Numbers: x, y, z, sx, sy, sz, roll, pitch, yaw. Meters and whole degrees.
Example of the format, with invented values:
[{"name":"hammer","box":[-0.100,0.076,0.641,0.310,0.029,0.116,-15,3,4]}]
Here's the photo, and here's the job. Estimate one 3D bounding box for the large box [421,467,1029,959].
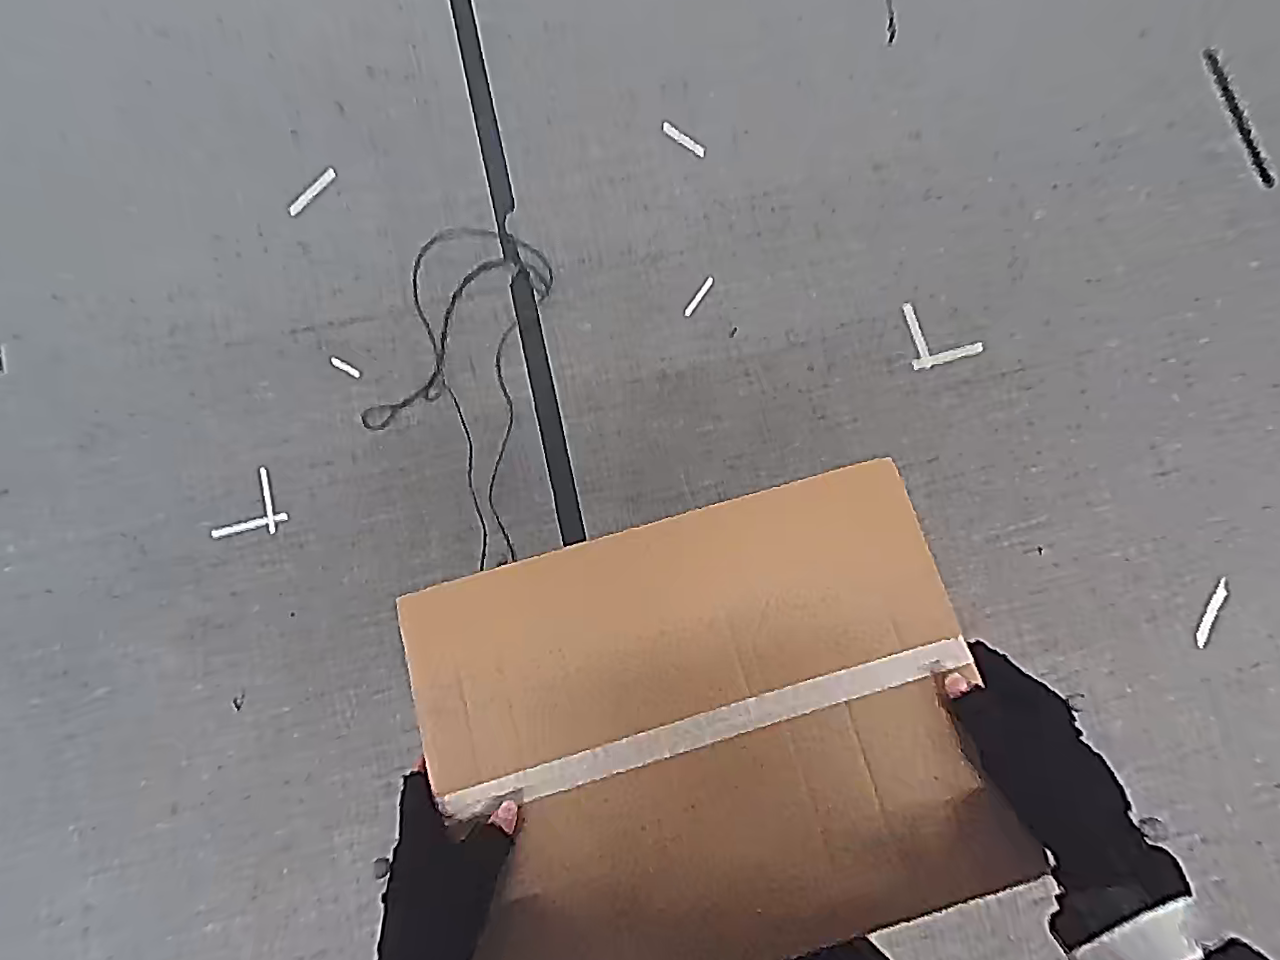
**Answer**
[{"name":"large box","box":[0.056,0.219,0.561,0.408,0.320,0.320,-17,79,-2]}]
